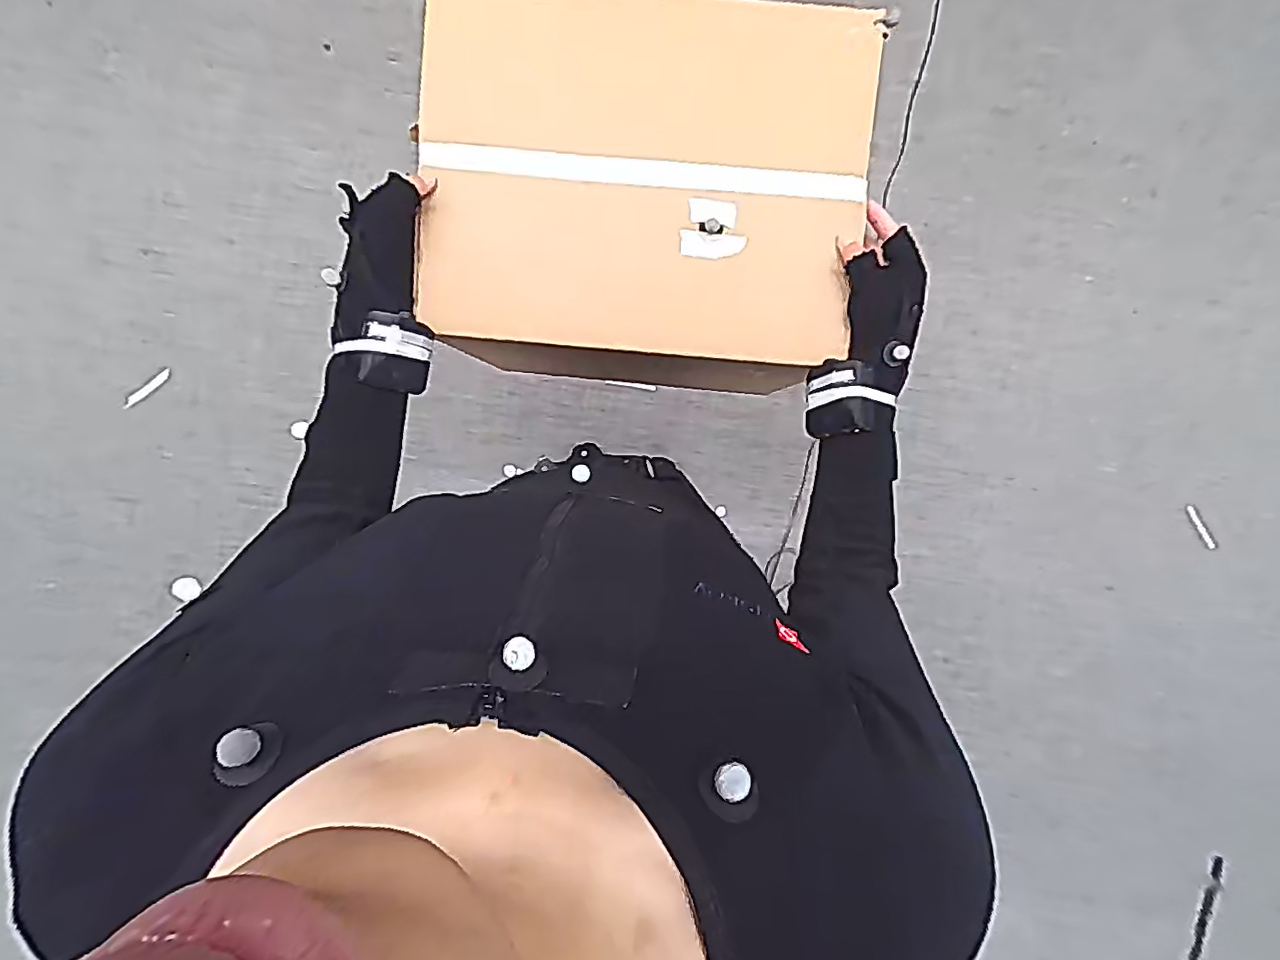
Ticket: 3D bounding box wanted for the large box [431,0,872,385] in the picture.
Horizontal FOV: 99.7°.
[{"bbox_3d":[0.004,-0.295,0.654,0.408,0.320,0.320,5,95,-1],"label":"large box"}]
